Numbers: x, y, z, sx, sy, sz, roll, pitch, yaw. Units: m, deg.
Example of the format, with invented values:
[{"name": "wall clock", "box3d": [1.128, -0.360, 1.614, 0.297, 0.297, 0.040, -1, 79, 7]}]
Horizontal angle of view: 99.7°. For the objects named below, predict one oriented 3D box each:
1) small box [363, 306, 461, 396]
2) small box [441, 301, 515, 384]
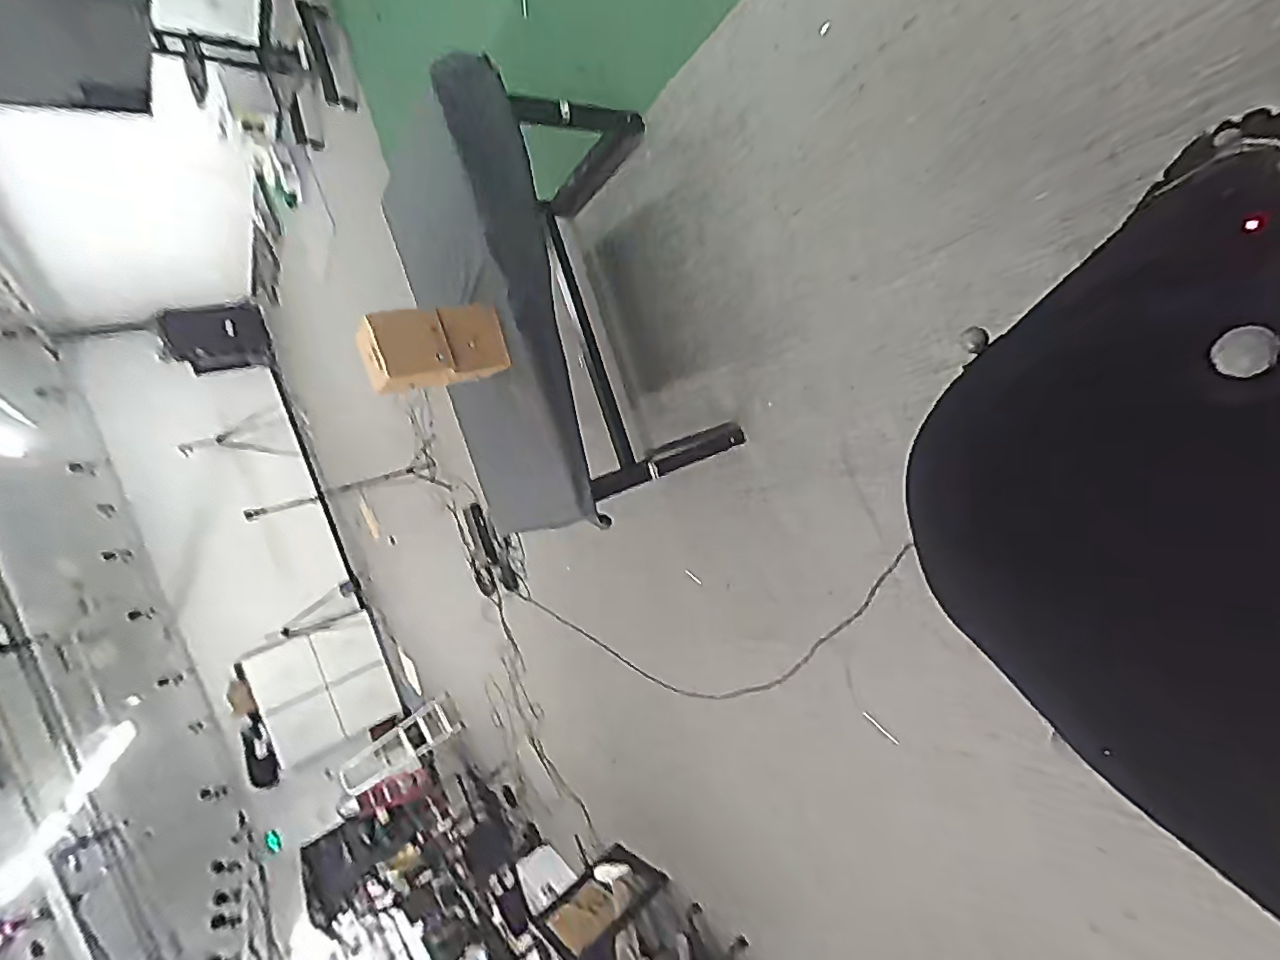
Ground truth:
[{"name": "small box", "box3d": [-0.584, -0.334, 1.395, 0.179, 0.176, 0.168, -19, 92, 53]}, {"name": "small box", "box3d": [-0.467, -0.382, 1.505, 0.168, 0.176, 0.179, -9, 99, 55]}]
